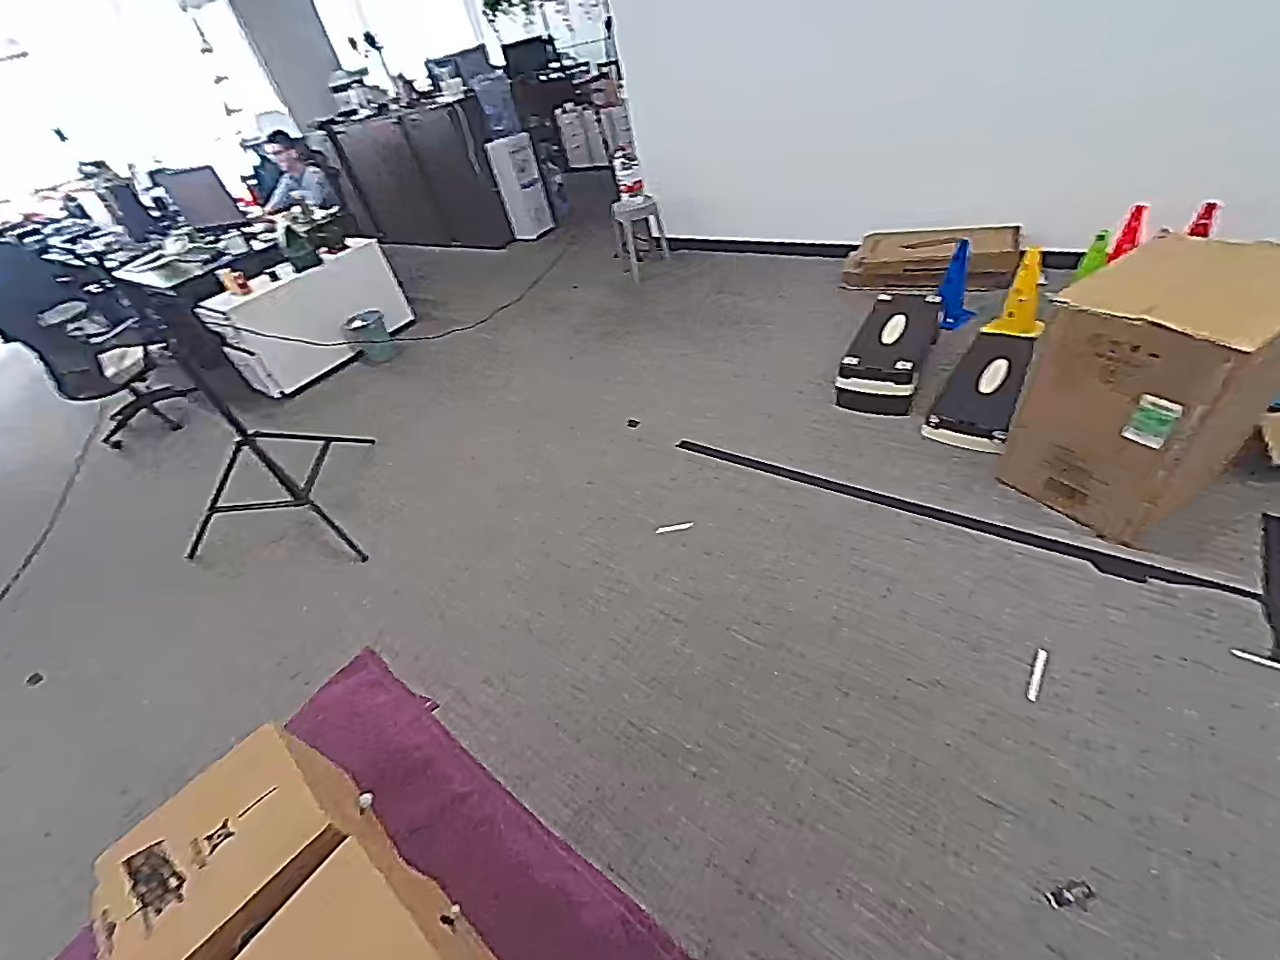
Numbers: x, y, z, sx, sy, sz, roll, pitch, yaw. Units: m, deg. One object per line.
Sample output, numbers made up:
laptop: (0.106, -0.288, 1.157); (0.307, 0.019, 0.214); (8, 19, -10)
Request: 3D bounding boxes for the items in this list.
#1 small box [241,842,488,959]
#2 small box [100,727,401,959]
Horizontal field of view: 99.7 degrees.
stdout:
small box: (-0.234, 0.465, 0.459); (0.168, 0.176, 0.179); (19, 51, 36)
small box: (-0.394, 0.411, 0.568); (0.168, 0.176, 0.179); (26, 53, 36)
